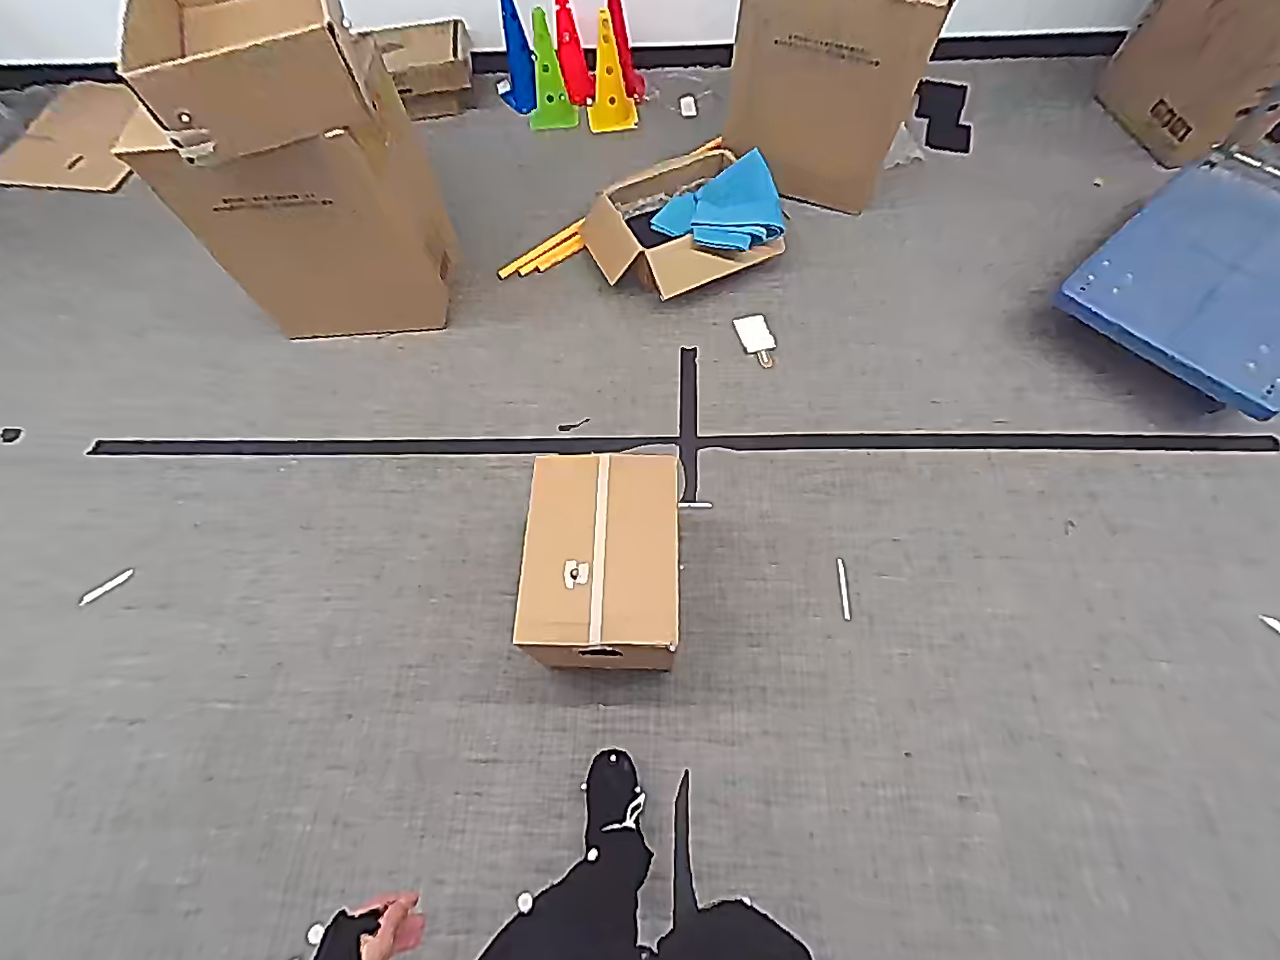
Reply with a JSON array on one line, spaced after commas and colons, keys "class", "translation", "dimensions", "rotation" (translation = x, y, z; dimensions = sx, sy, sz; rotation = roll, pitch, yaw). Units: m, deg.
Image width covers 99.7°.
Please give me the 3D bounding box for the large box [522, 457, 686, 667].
[{"class": "large box", "translation": [-0.065, 0.195, 1.218], "dimensions": [0.320, 0.320, 0.408], "rotation": [-1, 64, 3]}]
